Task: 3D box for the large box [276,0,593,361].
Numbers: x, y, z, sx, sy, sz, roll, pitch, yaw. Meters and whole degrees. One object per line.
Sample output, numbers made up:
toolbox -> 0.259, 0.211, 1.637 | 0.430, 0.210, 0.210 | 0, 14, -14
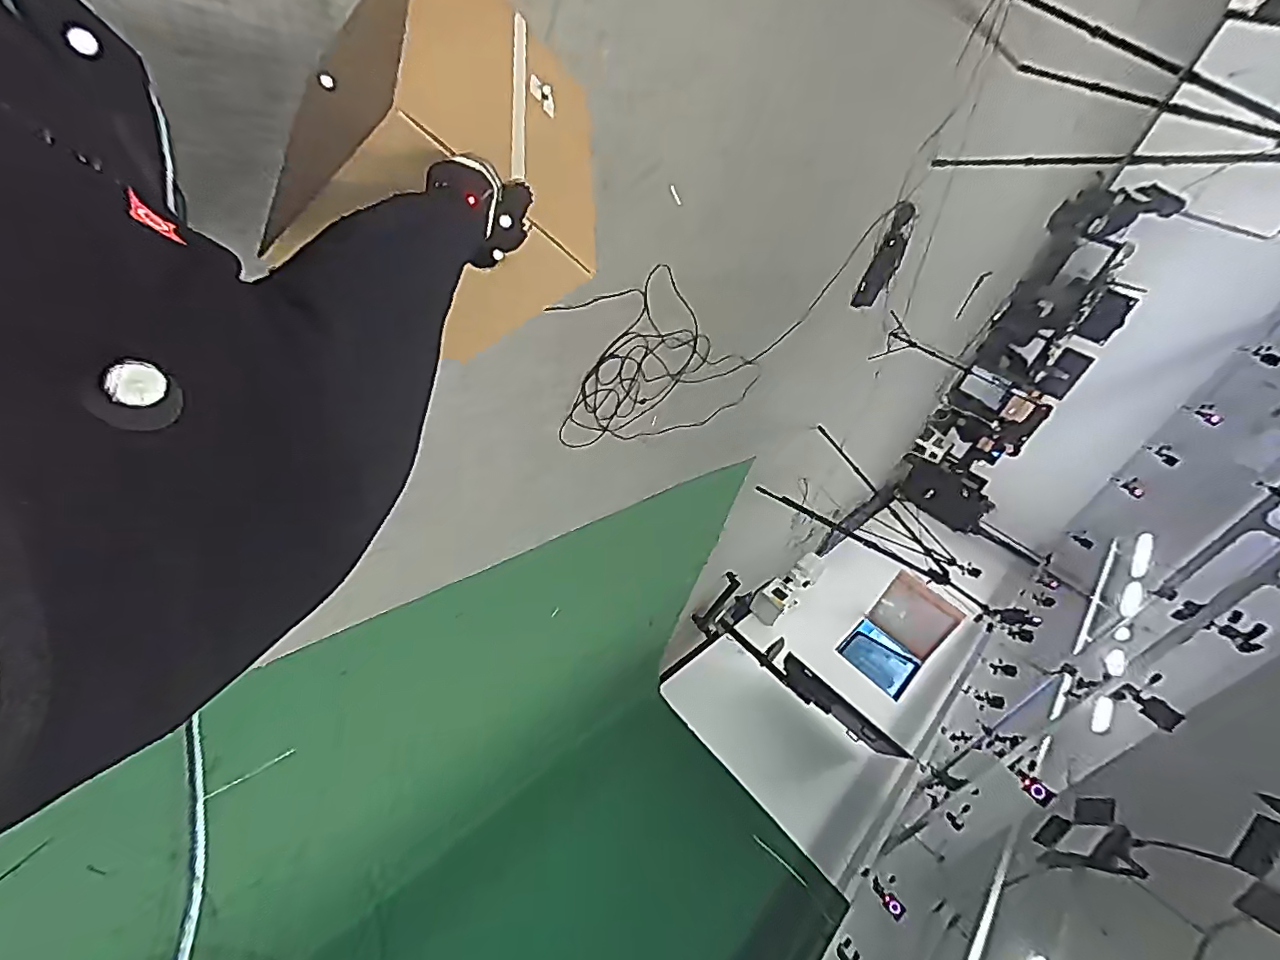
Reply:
large box -> -0.296, -0.463, 0.821 | 0.320, 0.408, 0.320 | -20, 153, 30
